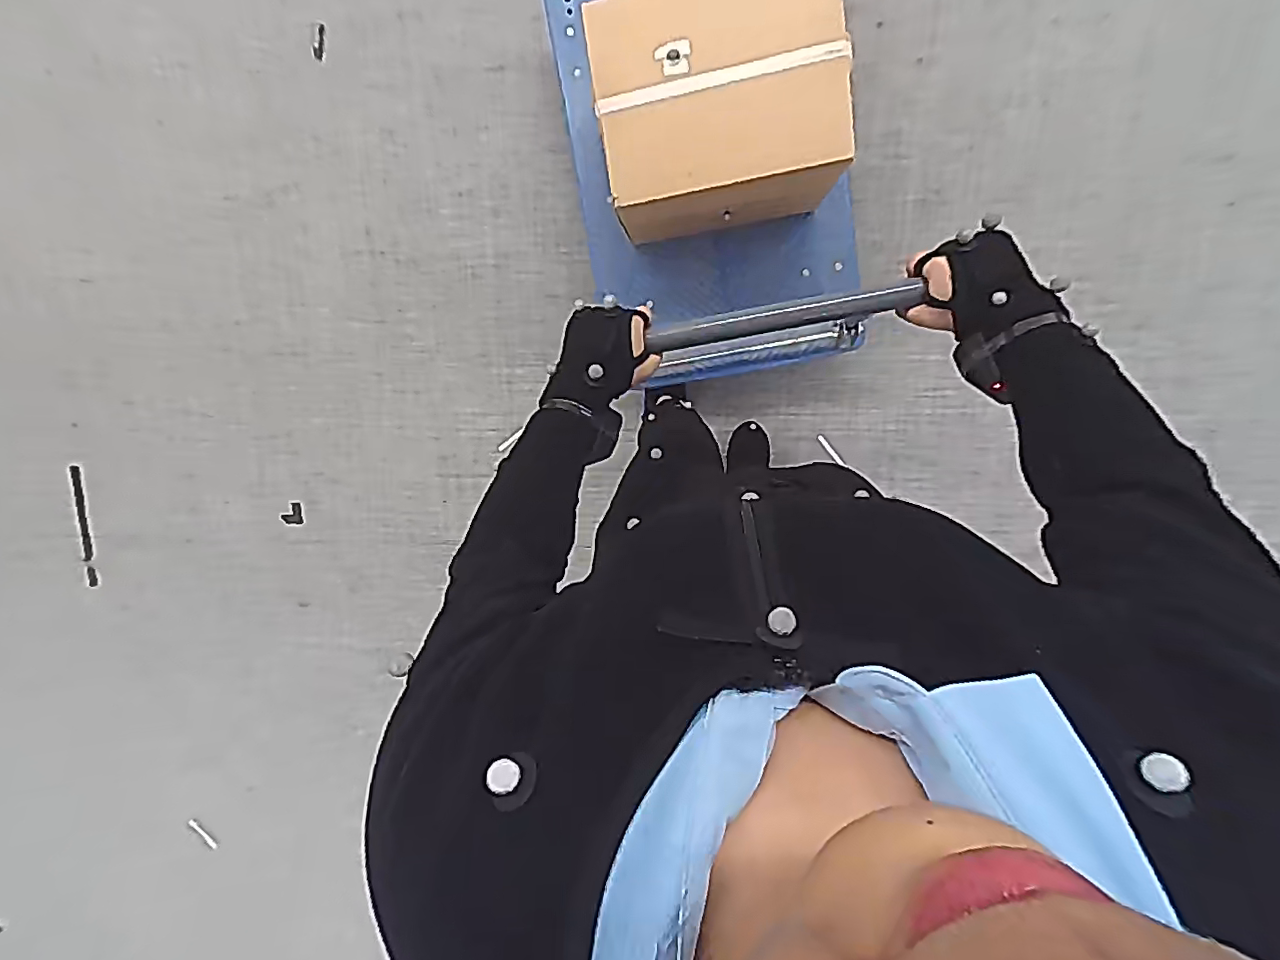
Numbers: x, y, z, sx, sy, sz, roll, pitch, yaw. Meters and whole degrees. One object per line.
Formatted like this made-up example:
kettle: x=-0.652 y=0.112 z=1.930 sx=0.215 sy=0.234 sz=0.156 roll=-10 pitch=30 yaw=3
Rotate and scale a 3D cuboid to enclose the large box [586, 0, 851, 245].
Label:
large box: x=0.147 y=-0.680 z=1.036 sx=0.408 sy=0.320 sz=0.320 roll=-8 pitch=100 yaw=9
